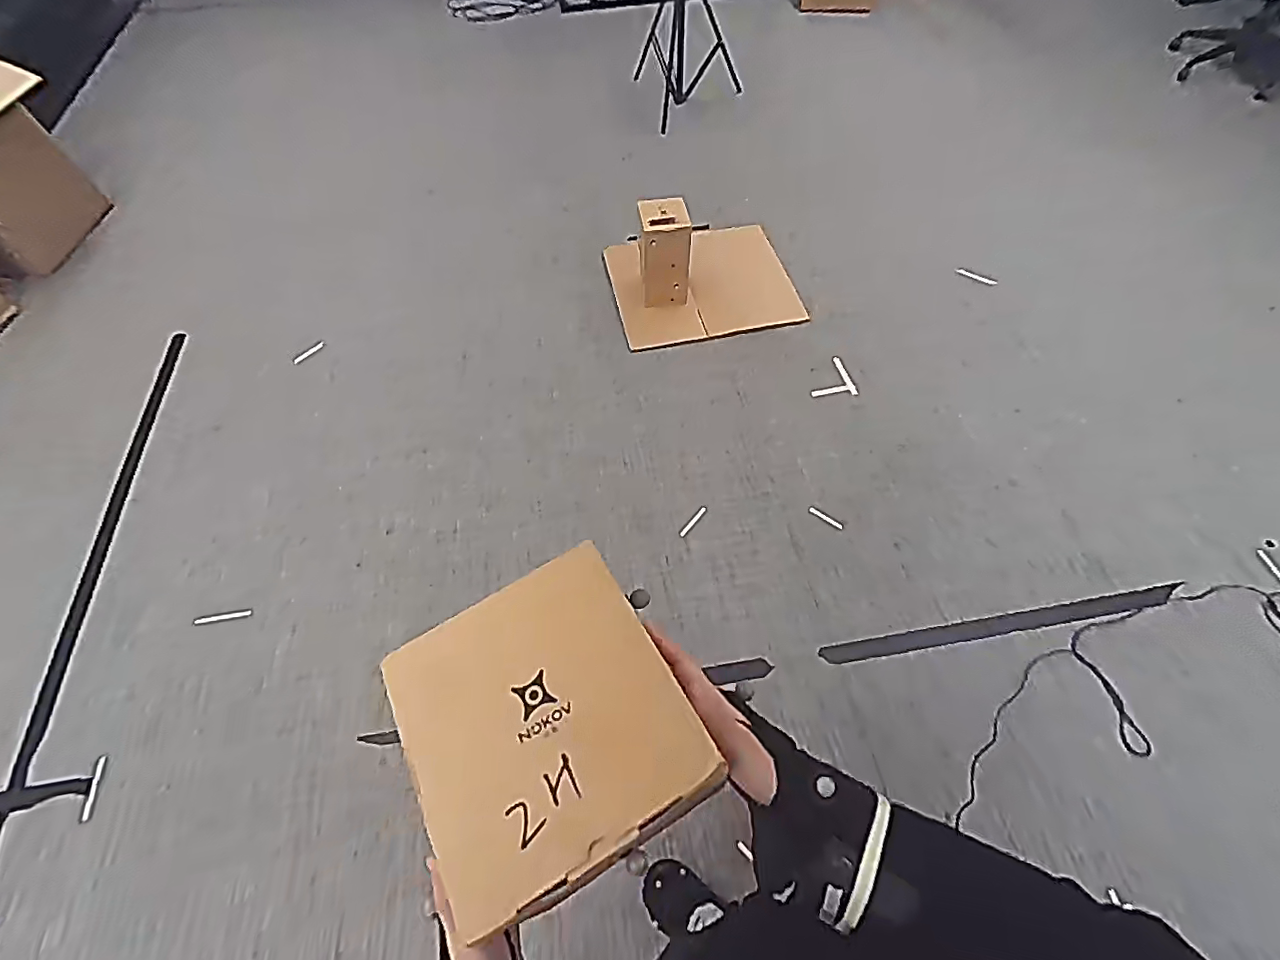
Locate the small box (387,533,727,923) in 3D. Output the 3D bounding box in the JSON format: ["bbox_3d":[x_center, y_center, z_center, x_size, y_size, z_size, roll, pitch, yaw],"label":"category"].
[{"bbox_3d":[-0.052,0.177,0.404,0.168,0.176,0.179,-29,59,-10],"label":"small box"}]

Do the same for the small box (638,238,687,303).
[{"bbox_3d":[0.085,-0.795,2.073,0.168,0.176,0.179,-7,59,-4],"label":"small box"}]
